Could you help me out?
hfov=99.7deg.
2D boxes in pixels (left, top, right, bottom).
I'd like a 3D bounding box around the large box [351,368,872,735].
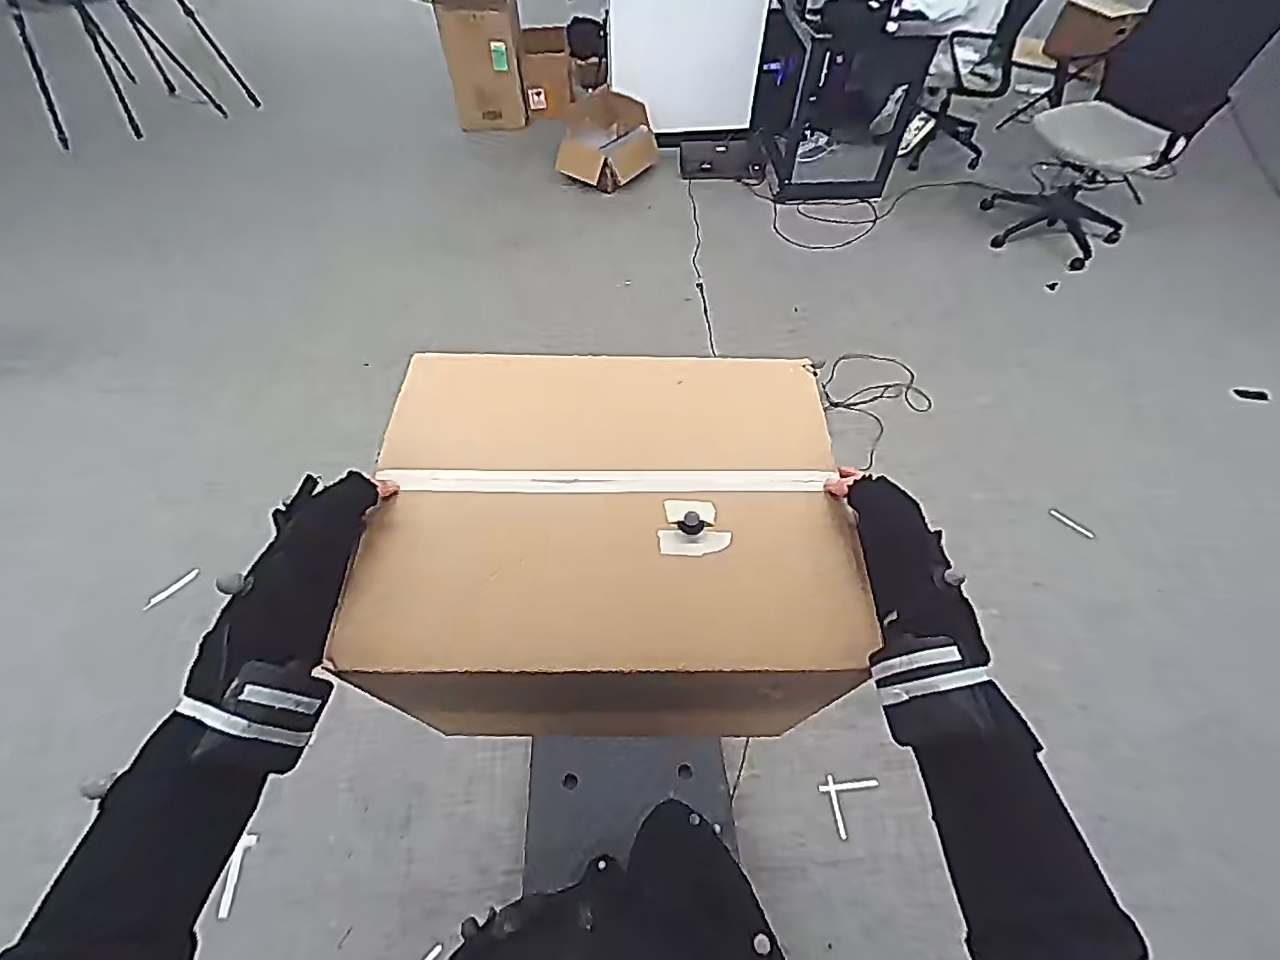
[{"bbox_3d":[-0.027,0.093,0.611,0.408,0.320,0.320,1,57,-2],"label":"large box"}]
